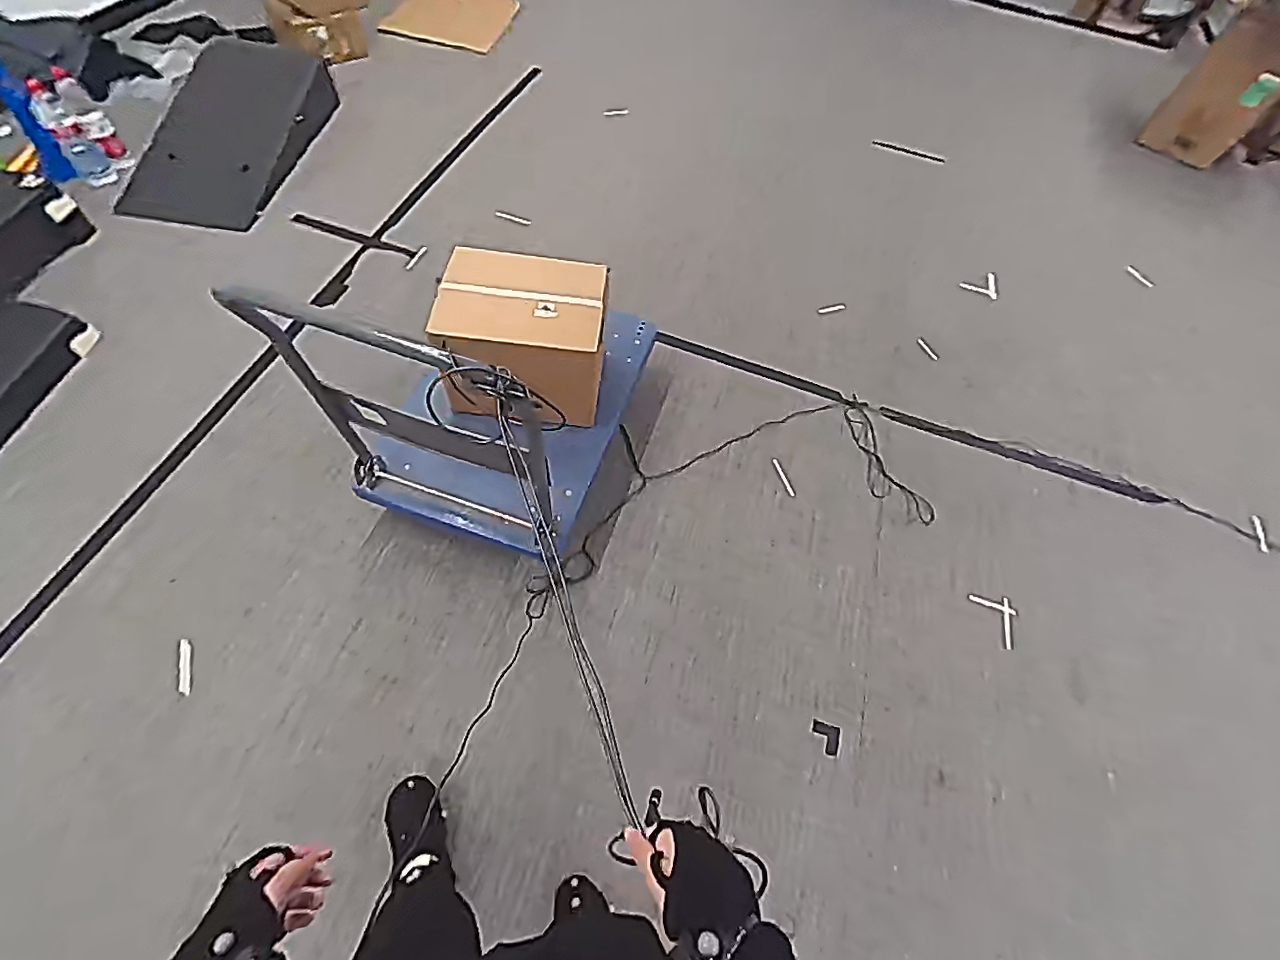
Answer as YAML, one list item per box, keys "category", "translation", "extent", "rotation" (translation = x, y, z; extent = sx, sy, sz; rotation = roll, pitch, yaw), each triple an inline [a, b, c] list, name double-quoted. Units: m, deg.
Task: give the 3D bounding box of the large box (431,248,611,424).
- category: "large box"
  translation: [-0.300, -0.378, 1.464]
  extent: [0.408, 0.320, 0.320]
  rotation: [7, 61, -4]
